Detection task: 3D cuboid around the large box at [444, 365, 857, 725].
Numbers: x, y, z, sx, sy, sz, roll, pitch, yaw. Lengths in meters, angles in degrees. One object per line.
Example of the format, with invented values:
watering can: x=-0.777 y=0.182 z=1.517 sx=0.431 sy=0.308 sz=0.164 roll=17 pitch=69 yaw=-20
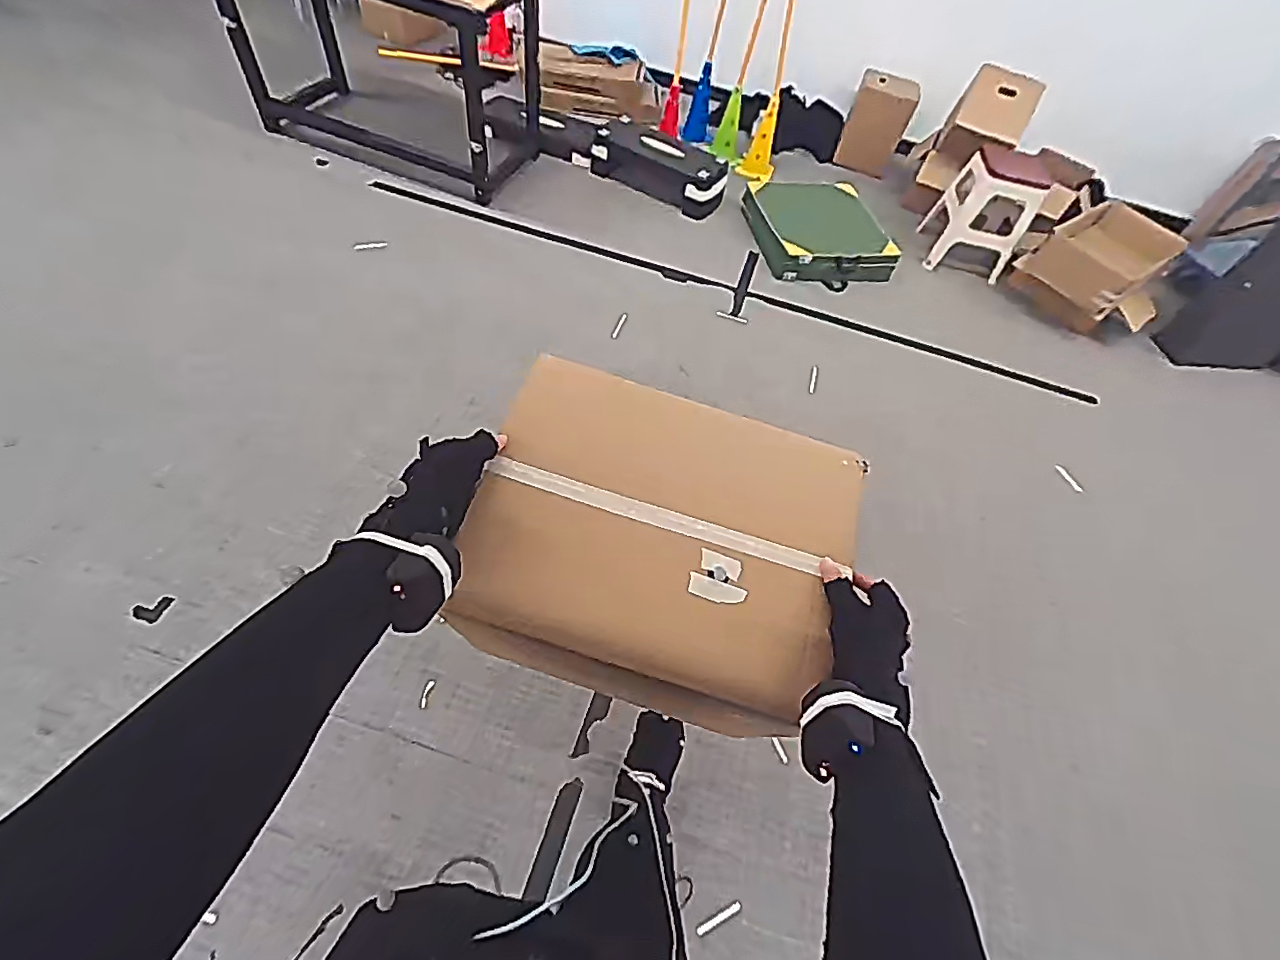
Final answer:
large box: x=0.016 y=0.108 z=0.724 sx=0.408 sy=0.320 sz=0.320 roll=18 pitch=64 yaw=1
